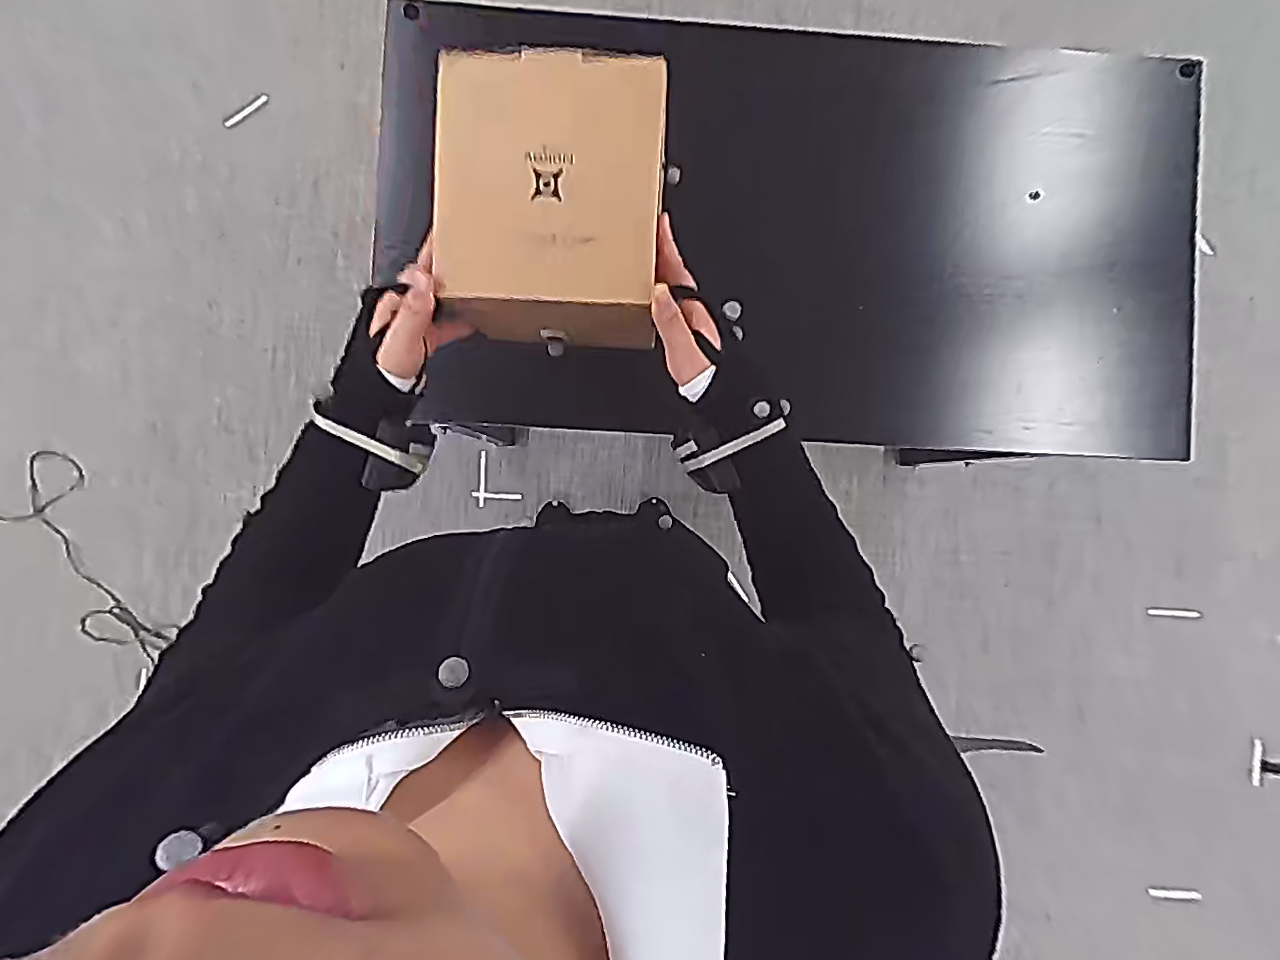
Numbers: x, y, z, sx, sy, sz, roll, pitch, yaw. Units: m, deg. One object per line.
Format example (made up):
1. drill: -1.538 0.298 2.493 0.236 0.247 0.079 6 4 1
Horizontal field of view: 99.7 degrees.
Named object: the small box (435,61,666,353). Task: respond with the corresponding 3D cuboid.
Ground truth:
1. small box: -0.065 -0.221 0.479 0.168 0.176 0.179 2 92 2
